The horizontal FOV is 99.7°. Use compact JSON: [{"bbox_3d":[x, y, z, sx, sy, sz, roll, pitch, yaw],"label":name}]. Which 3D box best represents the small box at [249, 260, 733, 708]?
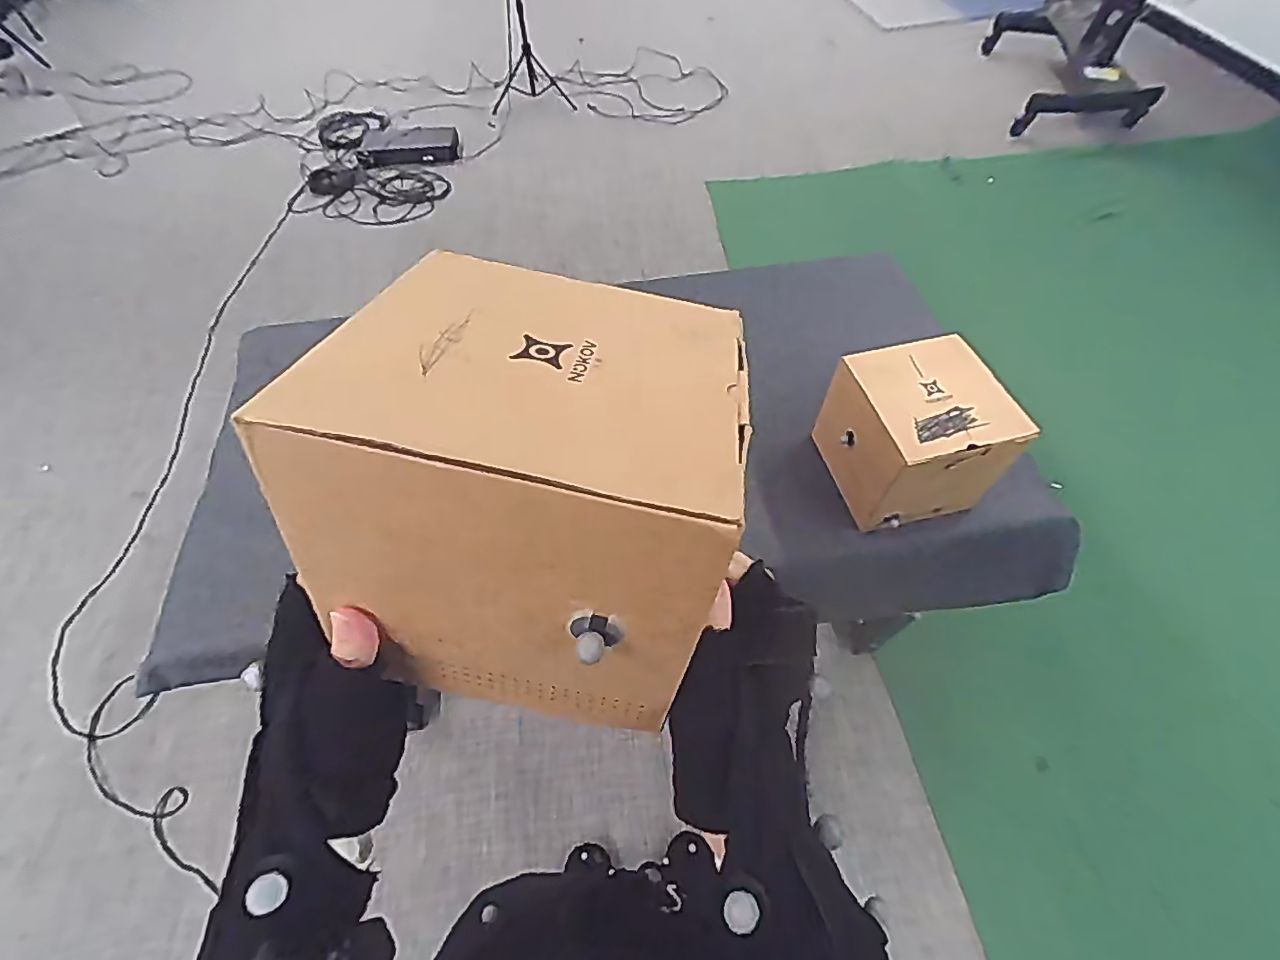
[{"bbox_3d":[-0.055,0.004,0.302,0.179,0.176,0.168,11,41,0],"label":"small box"}]

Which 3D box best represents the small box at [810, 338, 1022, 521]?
[{"bbox_3d":[0.352,-0.059,0.732,0.168,0.176,0.179,-12,57,-6],"label":"small box"}]
